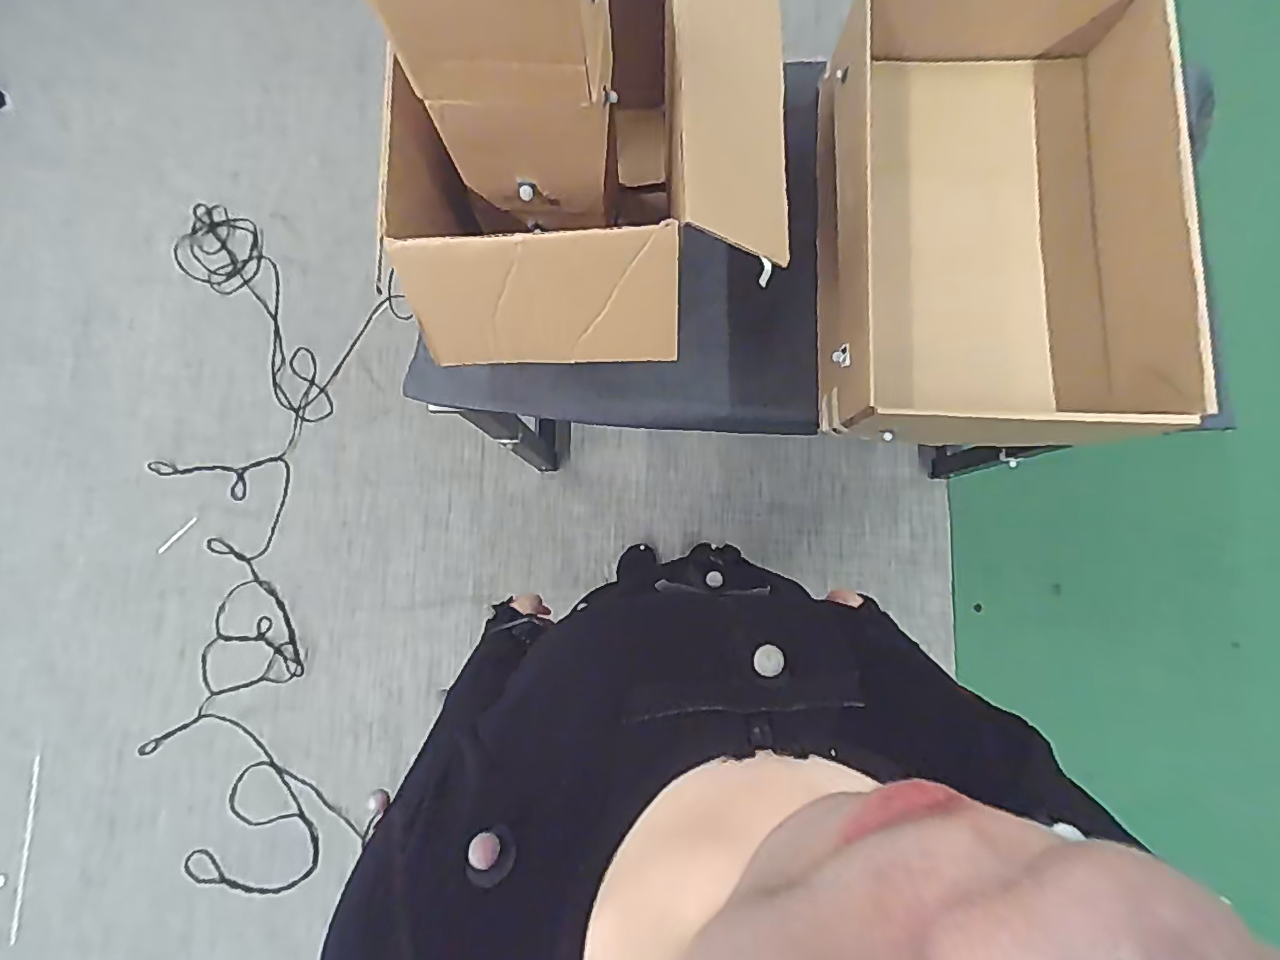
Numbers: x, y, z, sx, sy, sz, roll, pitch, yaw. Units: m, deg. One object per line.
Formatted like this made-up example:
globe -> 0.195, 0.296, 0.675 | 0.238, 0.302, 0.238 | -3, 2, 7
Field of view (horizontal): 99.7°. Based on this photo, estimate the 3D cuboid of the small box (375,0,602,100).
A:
small box -> -0.129, -0.457, 0.450 | 0.179, 0.176, 0.168 | 4, 83, 1

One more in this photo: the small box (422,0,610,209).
small box -> -0.124, -0.441, 0.610 | 0.168, 0.176, 0.179 | 4, 85, 1
